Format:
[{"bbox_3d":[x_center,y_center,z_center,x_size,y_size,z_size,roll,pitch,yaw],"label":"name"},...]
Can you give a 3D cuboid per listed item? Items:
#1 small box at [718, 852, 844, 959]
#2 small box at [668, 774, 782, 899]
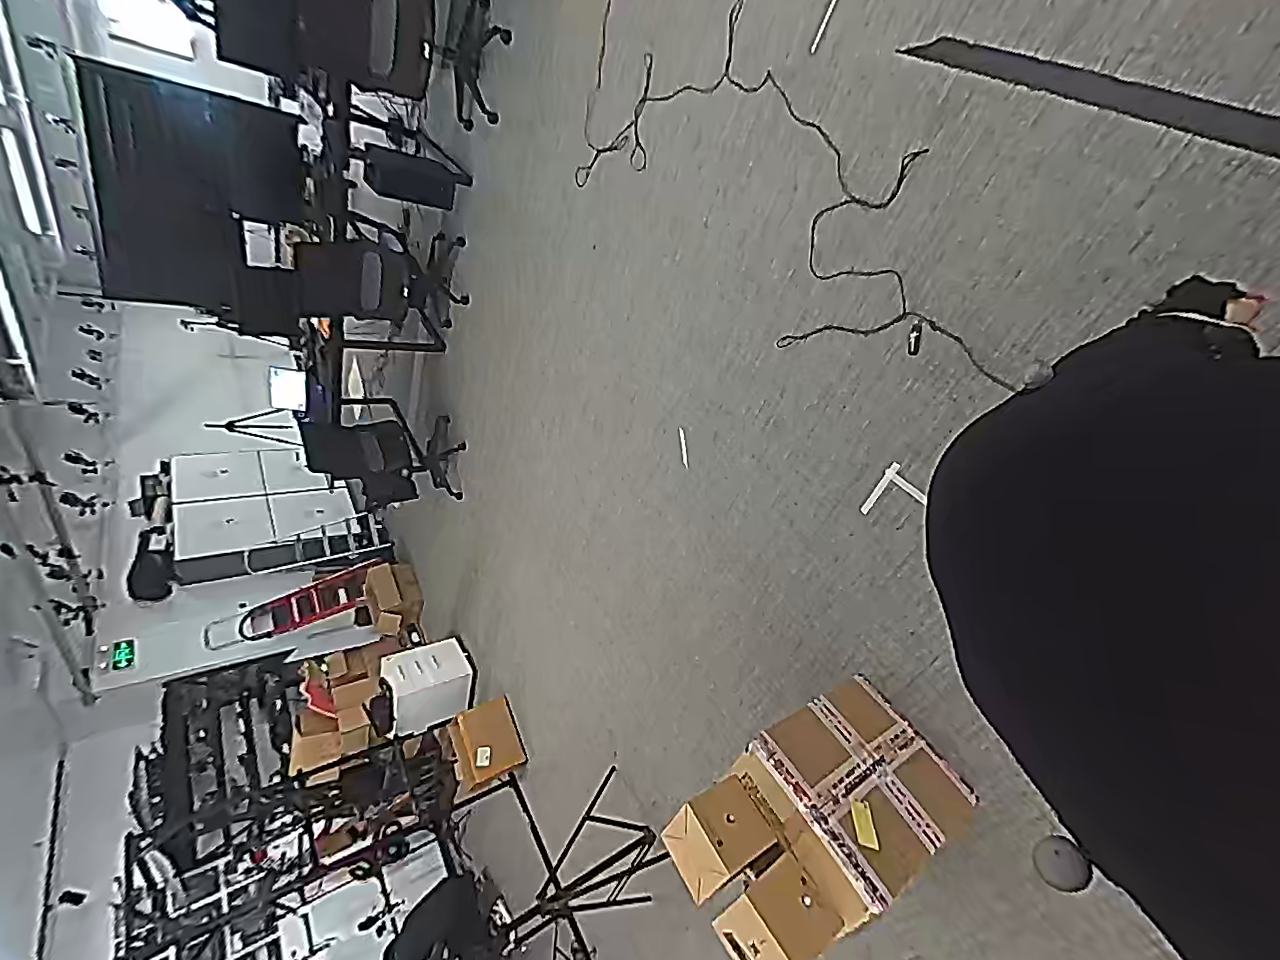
[{"bbox_3d":[0.306,0.959,1.169,0.168,0.176,0.179,46,128,34],"label":"small box"},{"bbox_3d":[0.195,0.849,1.288,0.168,0.176,0.179,51,131,38],"label":"small box"}]
